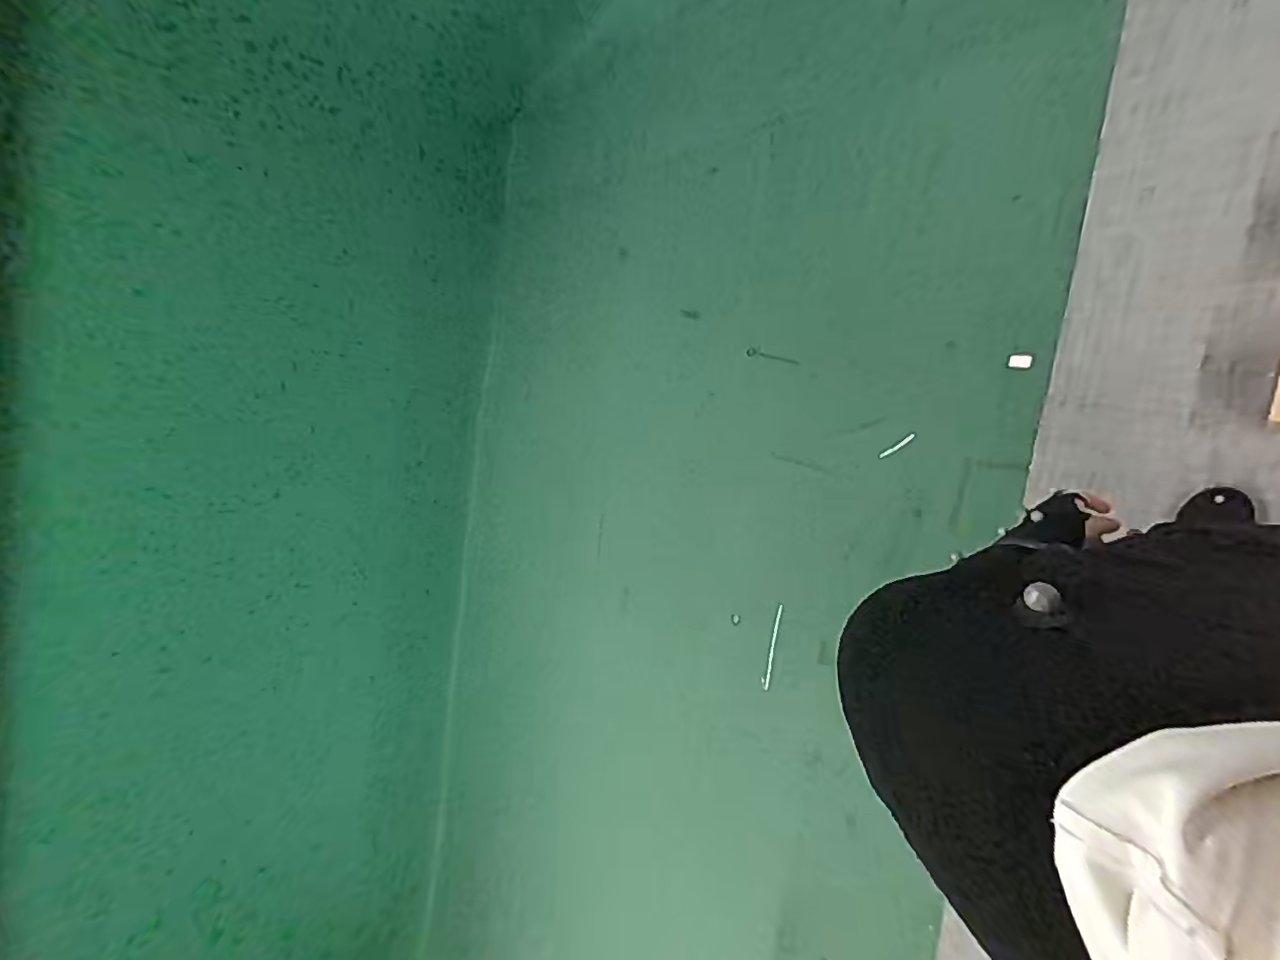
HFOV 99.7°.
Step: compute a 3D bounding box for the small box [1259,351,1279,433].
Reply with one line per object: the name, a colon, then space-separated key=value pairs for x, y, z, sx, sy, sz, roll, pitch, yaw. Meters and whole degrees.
small box: x=1.279 y=-0.170 z=0.990 sx=0.168 sy=0.176 sz=0.179 roll=15 pitch=98 yaw=46
